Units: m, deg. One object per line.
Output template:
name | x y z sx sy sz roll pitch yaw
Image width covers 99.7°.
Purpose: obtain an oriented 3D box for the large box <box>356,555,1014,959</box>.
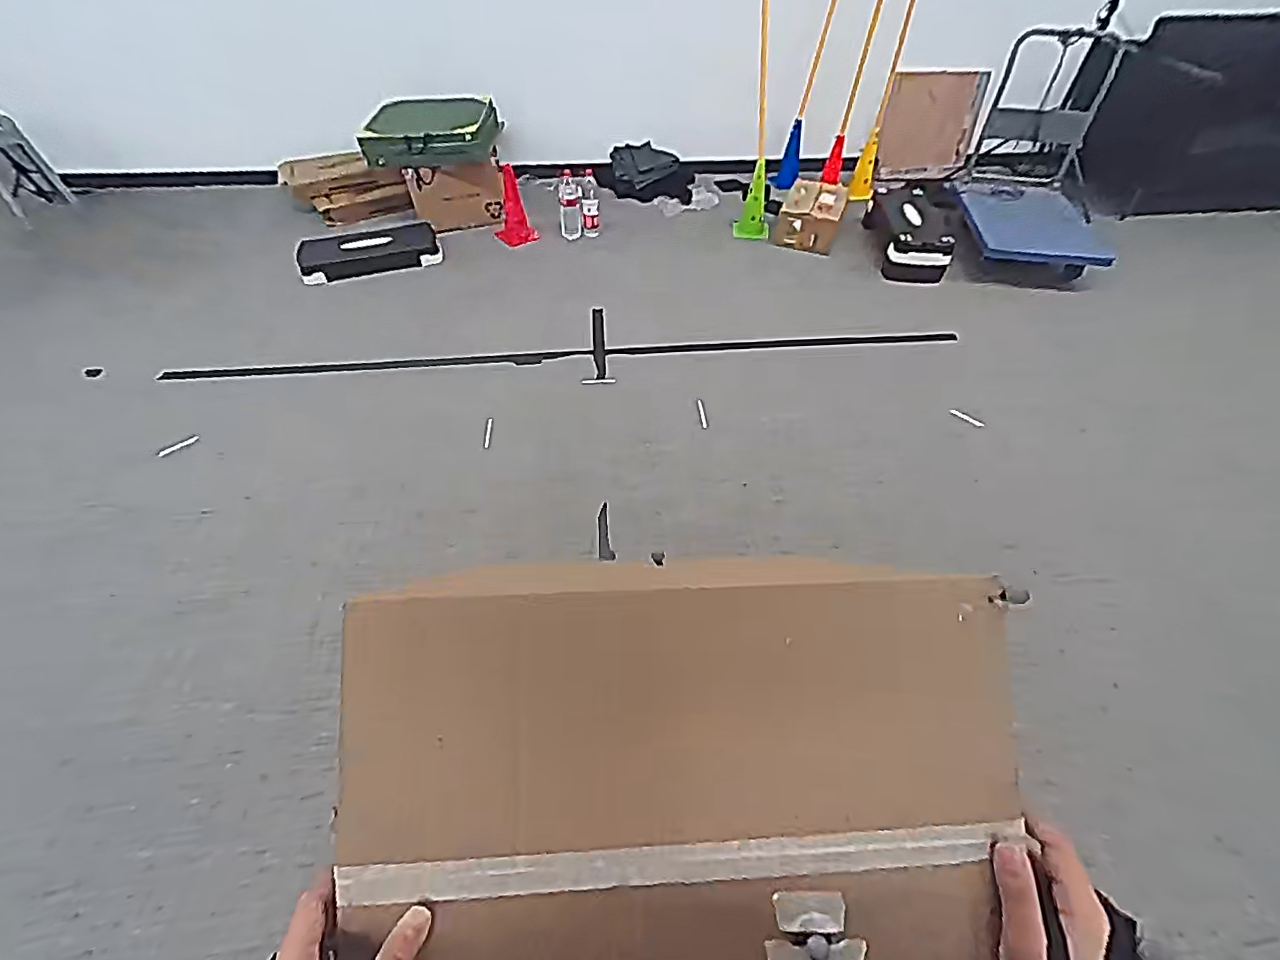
large box | 0.020 0.236 0.479 0.408 0.320 0.320 -2 86 -5
